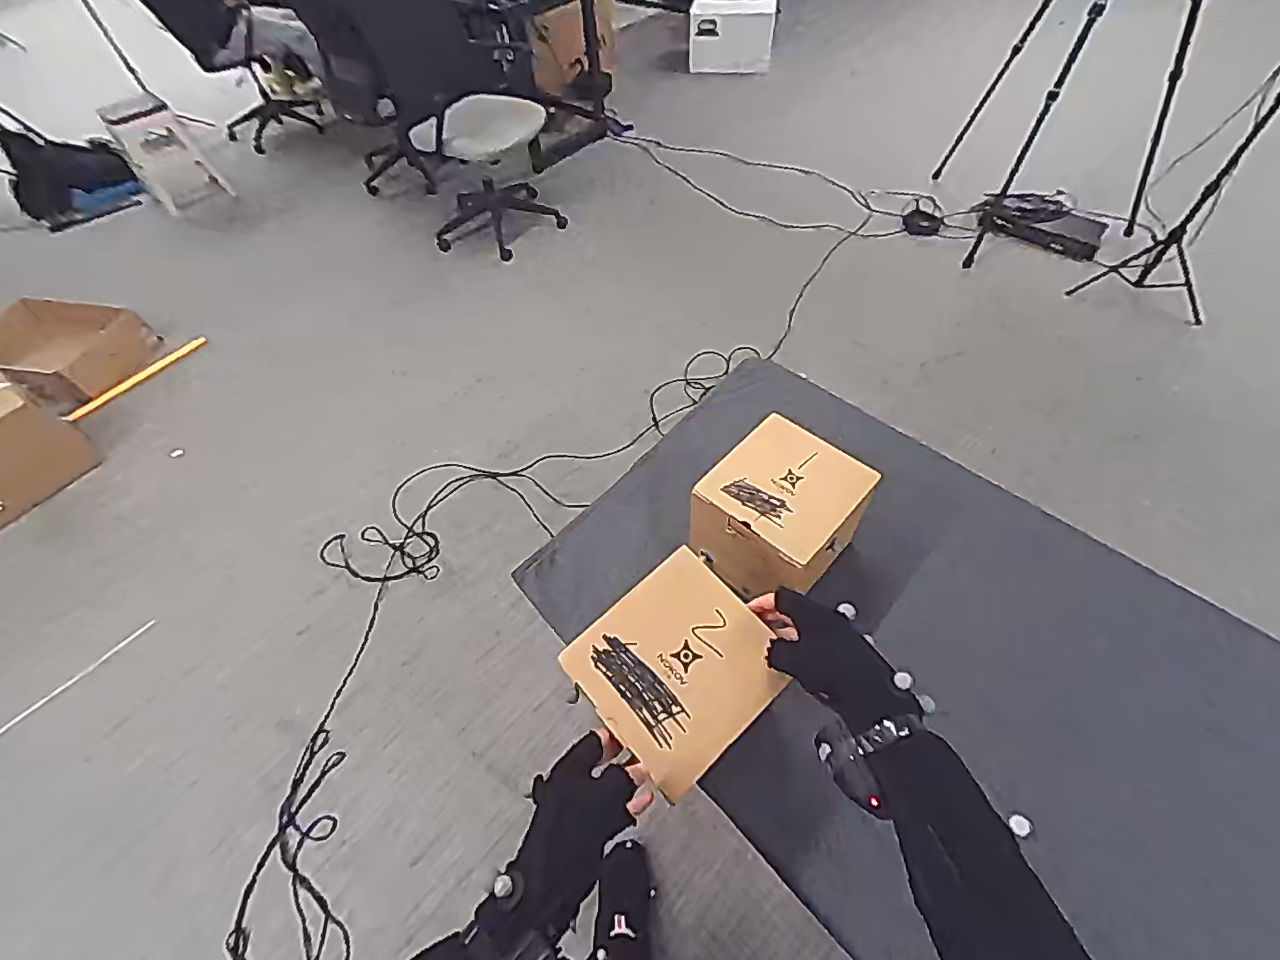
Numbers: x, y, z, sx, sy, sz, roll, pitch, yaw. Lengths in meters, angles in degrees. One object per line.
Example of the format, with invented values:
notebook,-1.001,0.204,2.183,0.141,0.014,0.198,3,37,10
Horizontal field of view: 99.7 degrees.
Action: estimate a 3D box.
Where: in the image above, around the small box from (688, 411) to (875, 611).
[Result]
small box,0.183,0.047,0.738,0.168,0.176,0.179,37,64,26
